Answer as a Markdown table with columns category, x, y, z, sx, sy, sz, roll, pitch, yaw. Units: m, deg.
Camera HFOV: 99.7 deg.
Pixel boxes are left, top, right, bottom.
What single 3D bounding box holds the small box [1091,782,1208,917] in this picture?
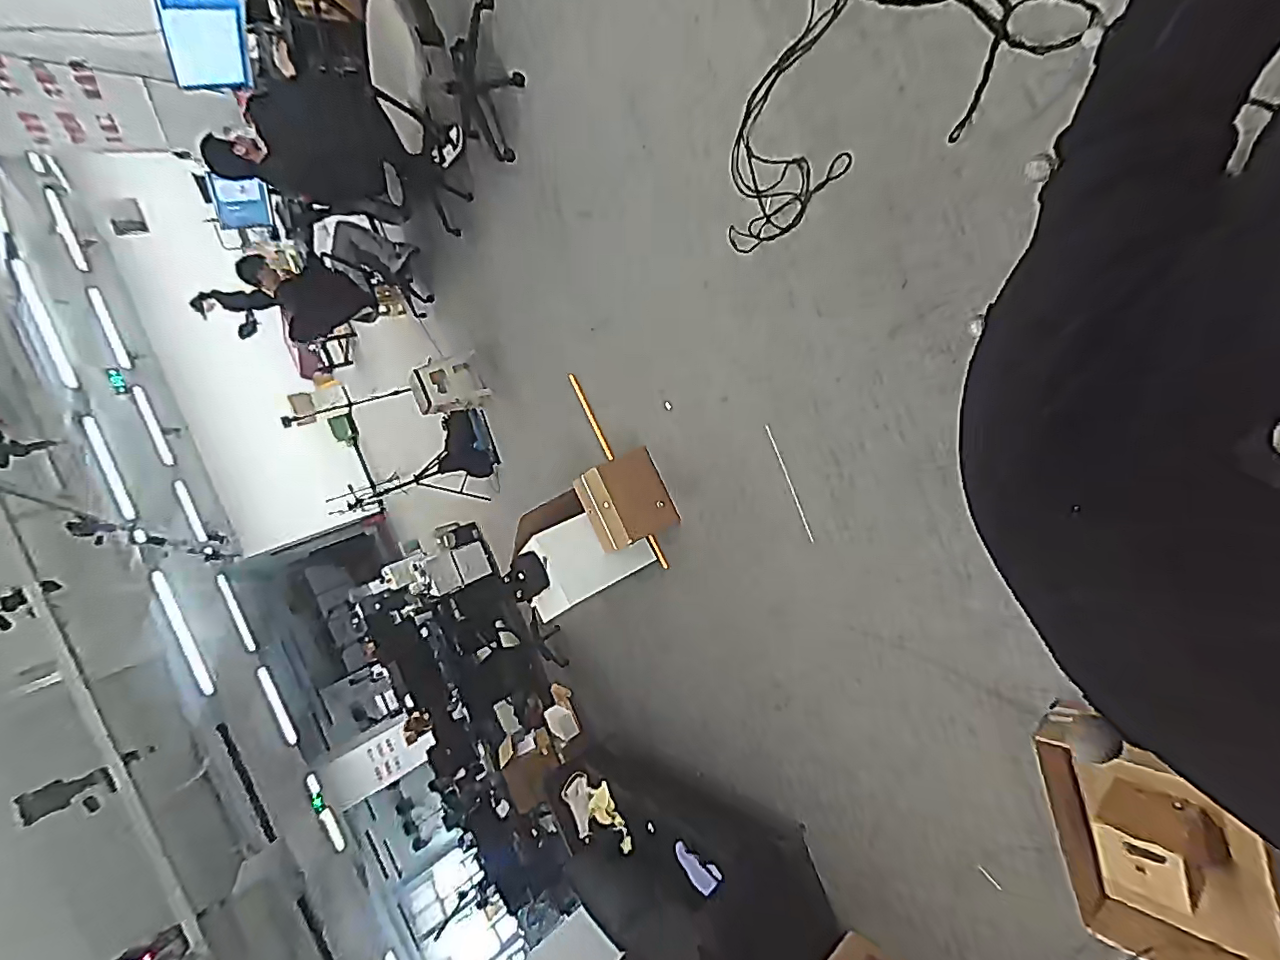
| category | x | y | z | sx | sy | sz | roll | pitch | yaw |
| --- | --- | --- | --- | --- | --- | --- | --- | --- | --- |
| small box | 1.238 | 0.882 | 1.313 | 0.168 | 0.176 | 0.179 | -3 | 108 | 58 |
